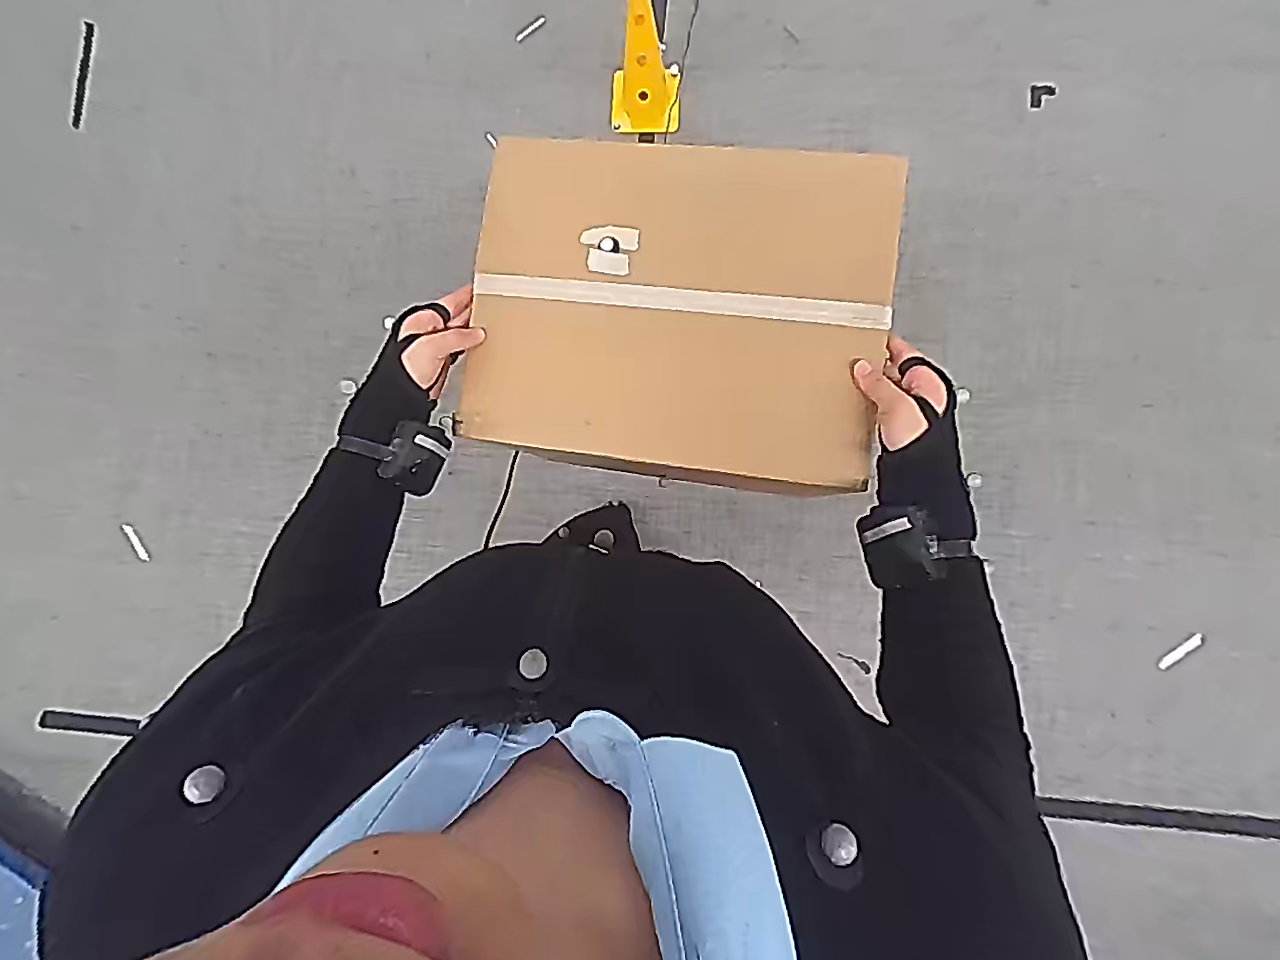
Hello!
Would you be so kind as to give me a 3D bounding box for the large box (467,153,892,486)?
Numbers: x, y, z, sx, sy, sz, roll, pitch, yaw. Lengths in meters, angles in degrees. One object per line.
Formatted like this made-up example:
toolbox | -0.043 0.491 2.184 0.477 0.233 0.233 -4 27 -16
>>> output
large box | 0.054 -0.167 0.684 0.408 0.320 0.320 7 87 9
